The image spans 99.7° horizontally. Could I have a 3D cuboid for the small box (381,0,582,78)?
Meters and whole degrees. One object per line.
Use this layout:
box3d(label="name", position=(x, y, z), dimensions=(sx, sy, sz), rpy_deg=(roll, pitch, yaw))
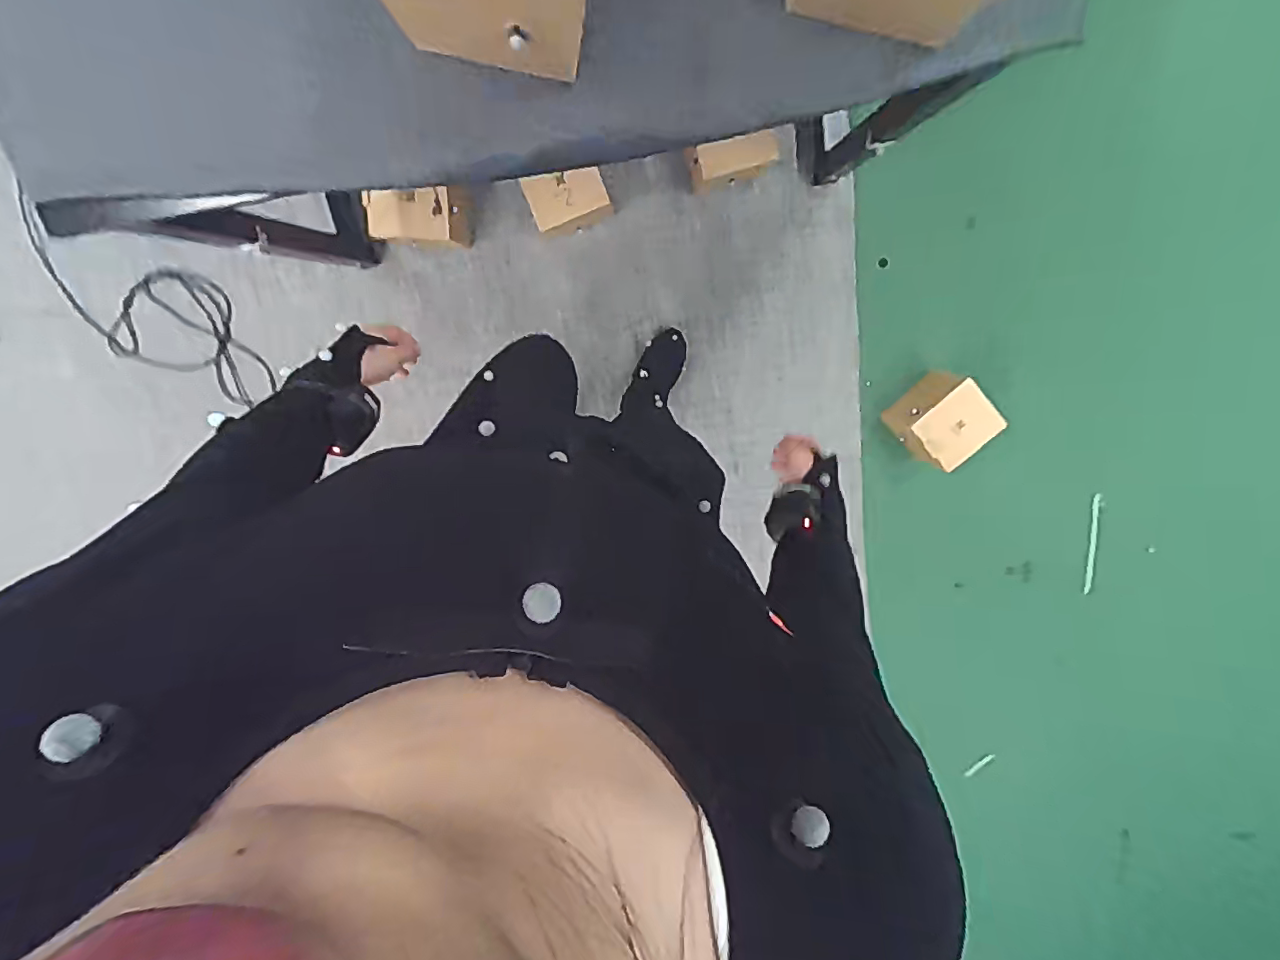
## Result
box3d(label="small box", position=(-0.141, -0.504, 0.491), dimensions=(0.179, 0.176, 0.168), rpy_deg=(10, 104, -2))

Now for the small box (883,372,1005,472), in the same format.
box3d(label="small box", position=(0.762, -0.155, 1.374), dimensions=(0.179, 0.176, 0.168), rpy_deg=(-43, 103, 12))

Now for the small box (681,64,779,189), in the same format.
box3d(label="small box", position=(0.191, -0.753, 1.177), dimensions=(0.168, 0.176, 0.179), rpy_deg=(-14, 107, 3))

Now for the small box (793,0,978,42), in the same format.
box3d(label="small box", position=(0.253, -0.535, 0.478), dimensions=(0.179, 0.176, 0.168), rpy_deg=(11, 105, -3))

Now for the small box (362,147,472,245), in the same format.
box3d(label="small box", position=(-0.492, -0.628, 1.214), dimensions=(0.179, 0.176, 0.168), rpy_deg=(3, 108, -1))
